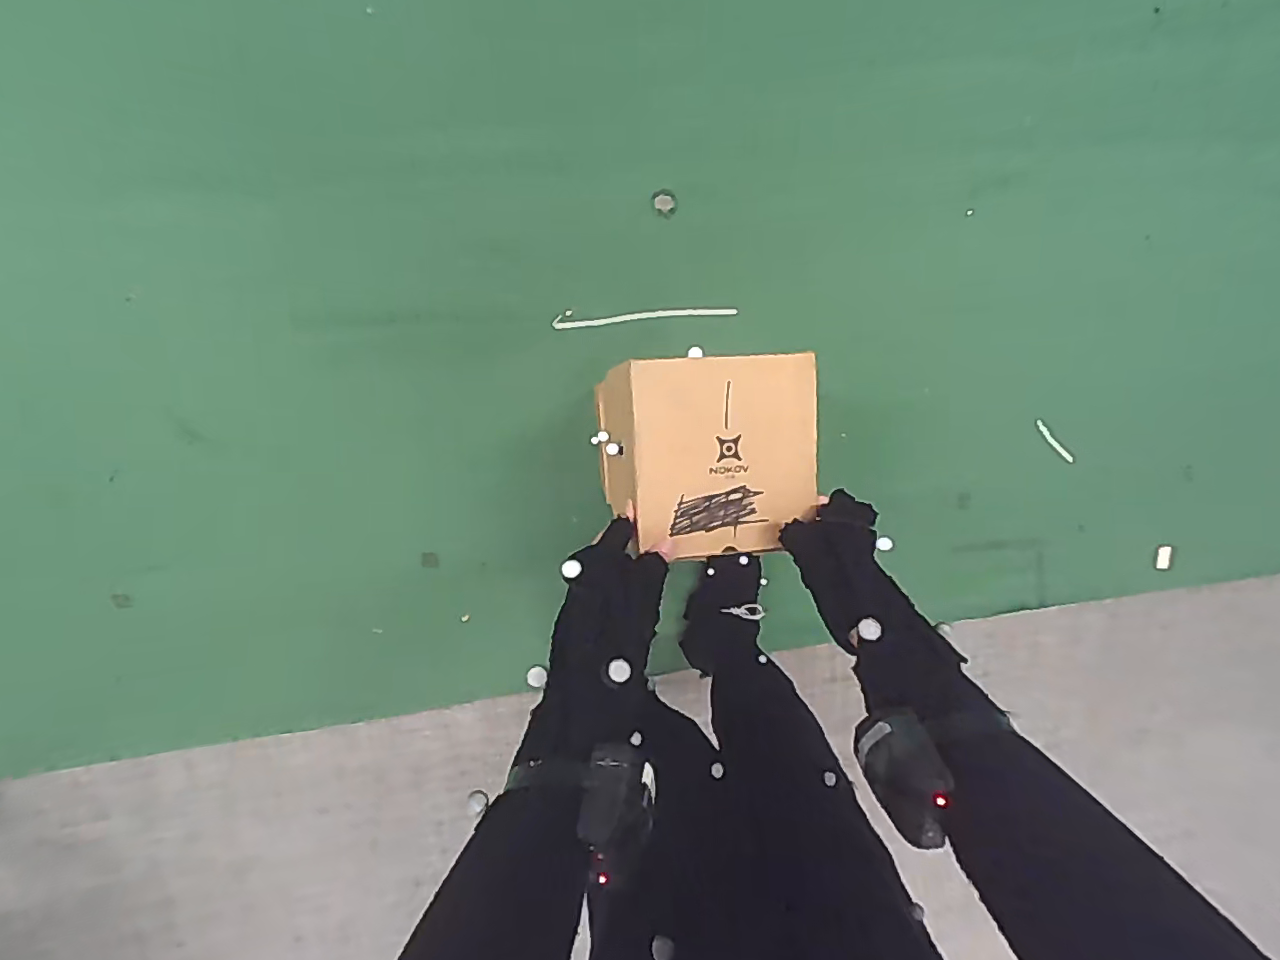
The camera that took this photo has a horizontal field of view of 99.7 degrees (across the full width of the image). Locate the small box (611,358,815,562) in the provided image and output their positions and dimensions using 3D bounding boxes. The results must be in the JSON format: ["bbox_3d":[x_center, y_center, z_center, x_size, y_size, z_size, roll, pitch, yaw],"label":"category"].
[{"bbox_3d":[0.063,-0.028,0.551,0.168,0.176,0.179,-4,97,-9],"label":"small box"}]
